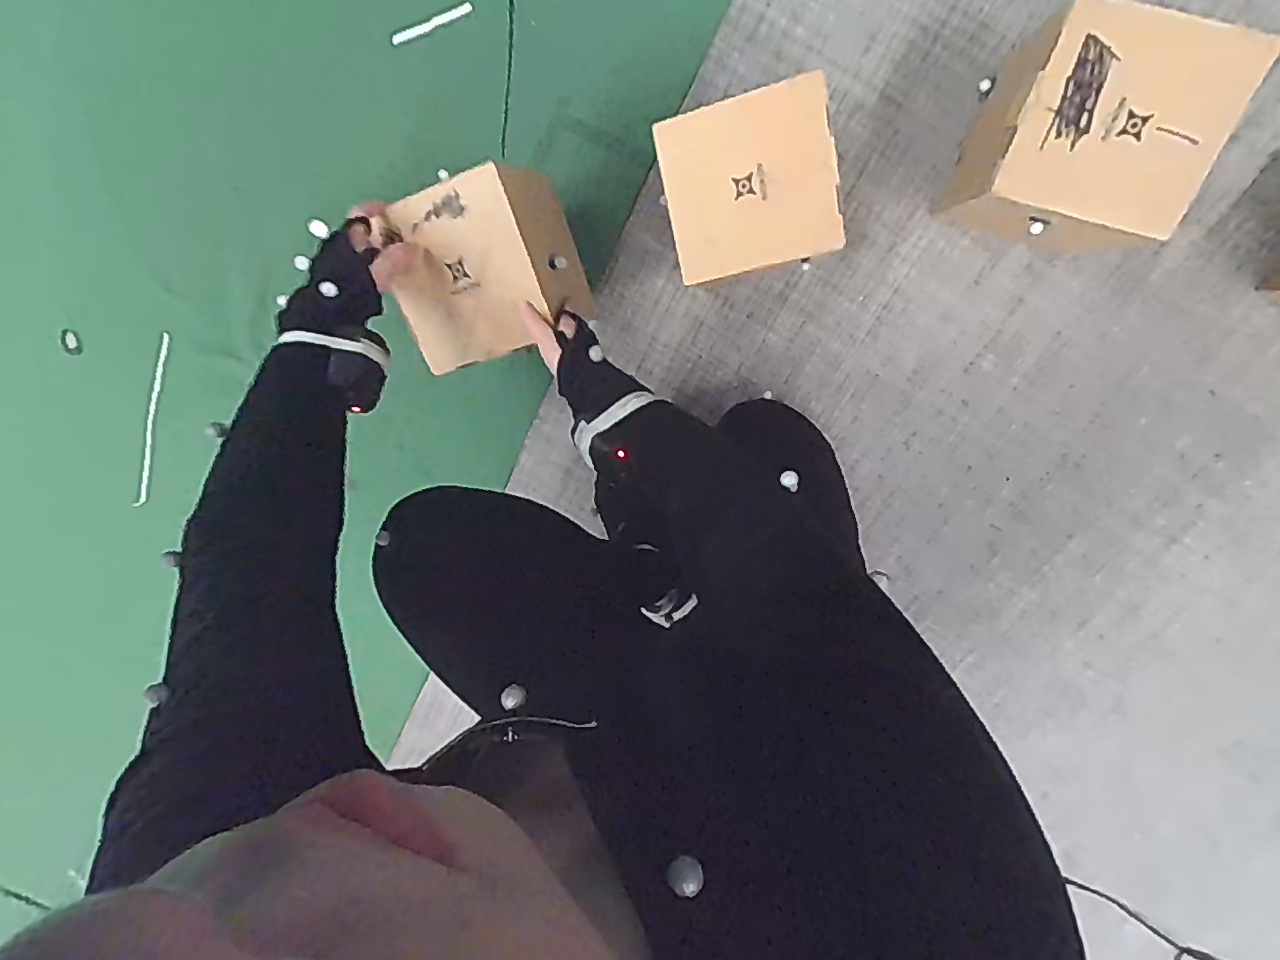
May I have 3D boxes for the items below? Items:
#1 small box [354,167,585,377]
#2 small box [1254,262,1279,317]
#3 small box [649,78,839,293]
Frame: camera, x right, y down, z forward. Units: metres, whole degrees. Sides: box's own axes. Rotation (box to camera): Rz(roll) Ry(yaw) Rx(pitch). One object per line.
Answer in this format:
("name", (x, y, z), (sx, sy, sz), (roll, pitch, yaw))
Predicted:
("small box", (-0.180, -0.244, 0.634), (0.168, 0.176, 0.179), (-12, 114, 16))
("small box", (0.824, -0.213, 0.543), (0.179, 0.176, 0.168), (30, 111, 0))
("small box", (0.124, -0.325, 0.641), (0.179, 0.176, 0.168), (-10, 105, 13))
